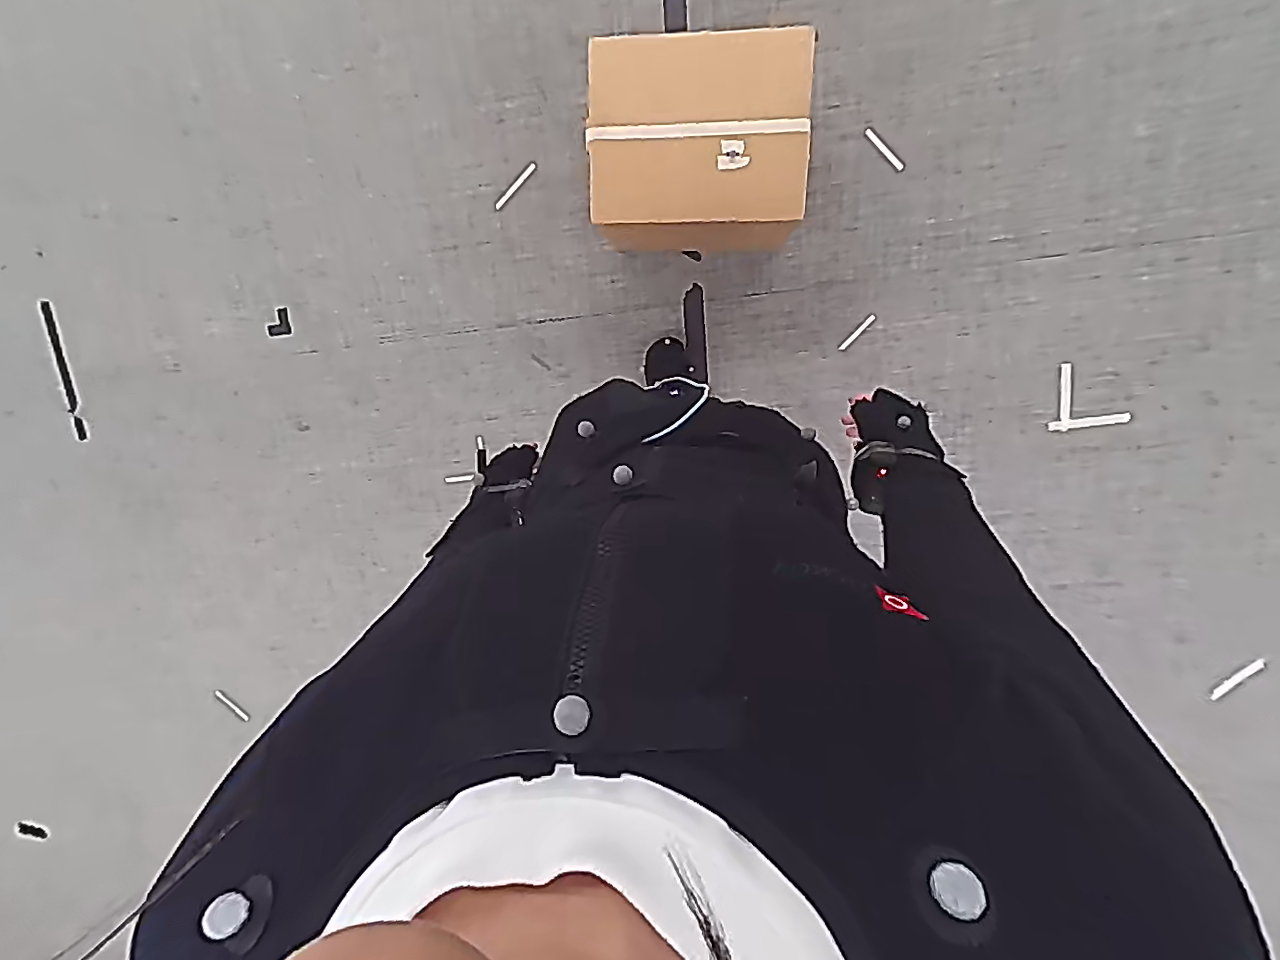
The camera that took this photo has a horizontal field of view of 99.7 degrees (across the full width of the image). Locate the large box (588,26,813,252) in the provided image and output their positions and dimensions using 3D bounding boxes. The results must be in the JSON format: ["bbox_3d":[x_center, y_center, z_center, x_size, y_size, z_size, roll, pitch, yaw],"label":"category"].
[{"bbox_3d":[0.116,-0.673,1.131,0.408,0.320,0.320,2,104,5],"label":"large box"}]
